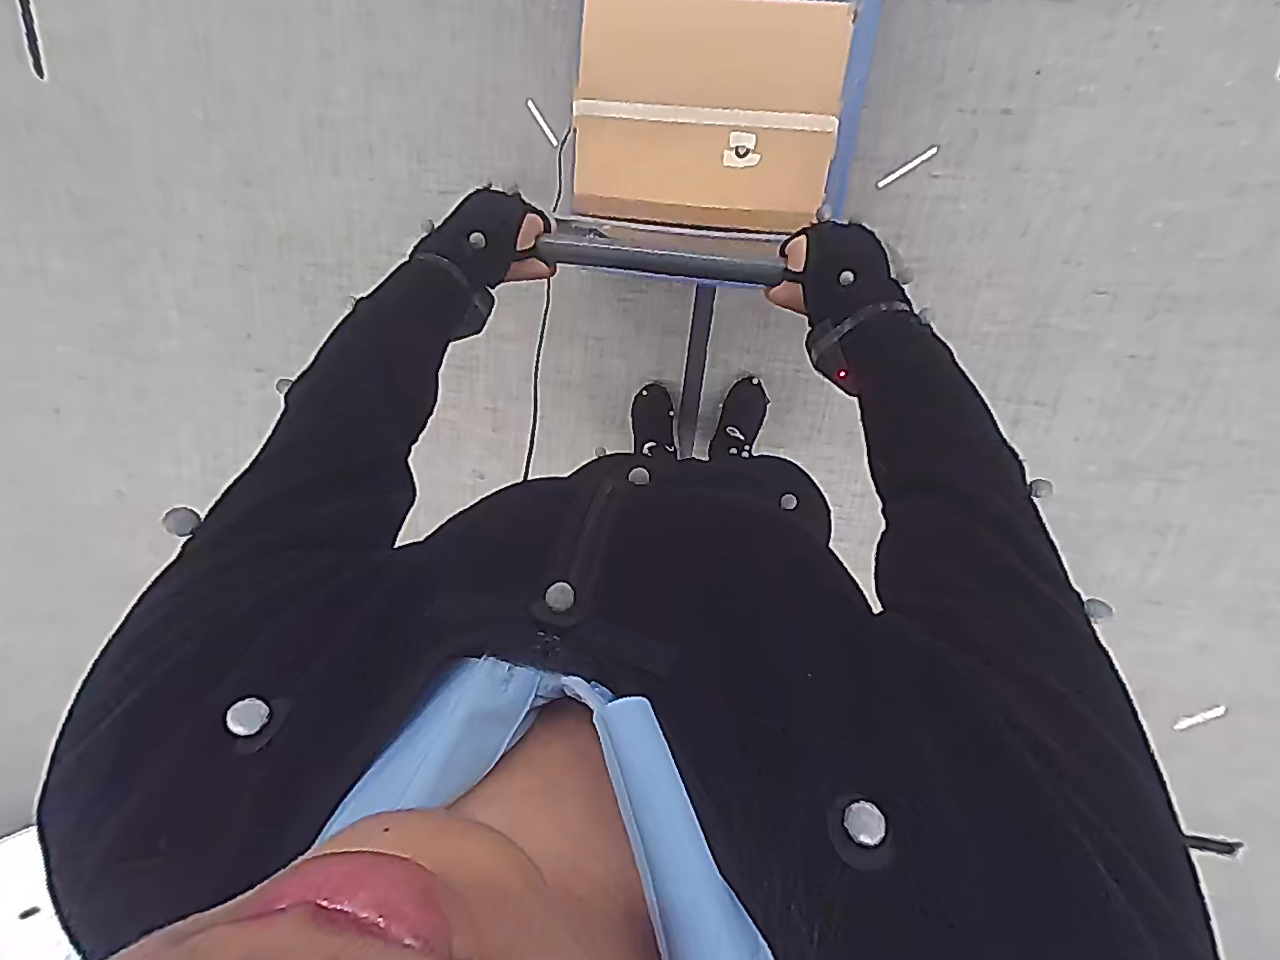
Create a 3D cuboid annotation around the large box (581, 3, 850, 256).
[{"bbox_3d":[0.121,-0.611,1.004,0.408,0.320,0.320,7,108,5],"label":"large box"}]
